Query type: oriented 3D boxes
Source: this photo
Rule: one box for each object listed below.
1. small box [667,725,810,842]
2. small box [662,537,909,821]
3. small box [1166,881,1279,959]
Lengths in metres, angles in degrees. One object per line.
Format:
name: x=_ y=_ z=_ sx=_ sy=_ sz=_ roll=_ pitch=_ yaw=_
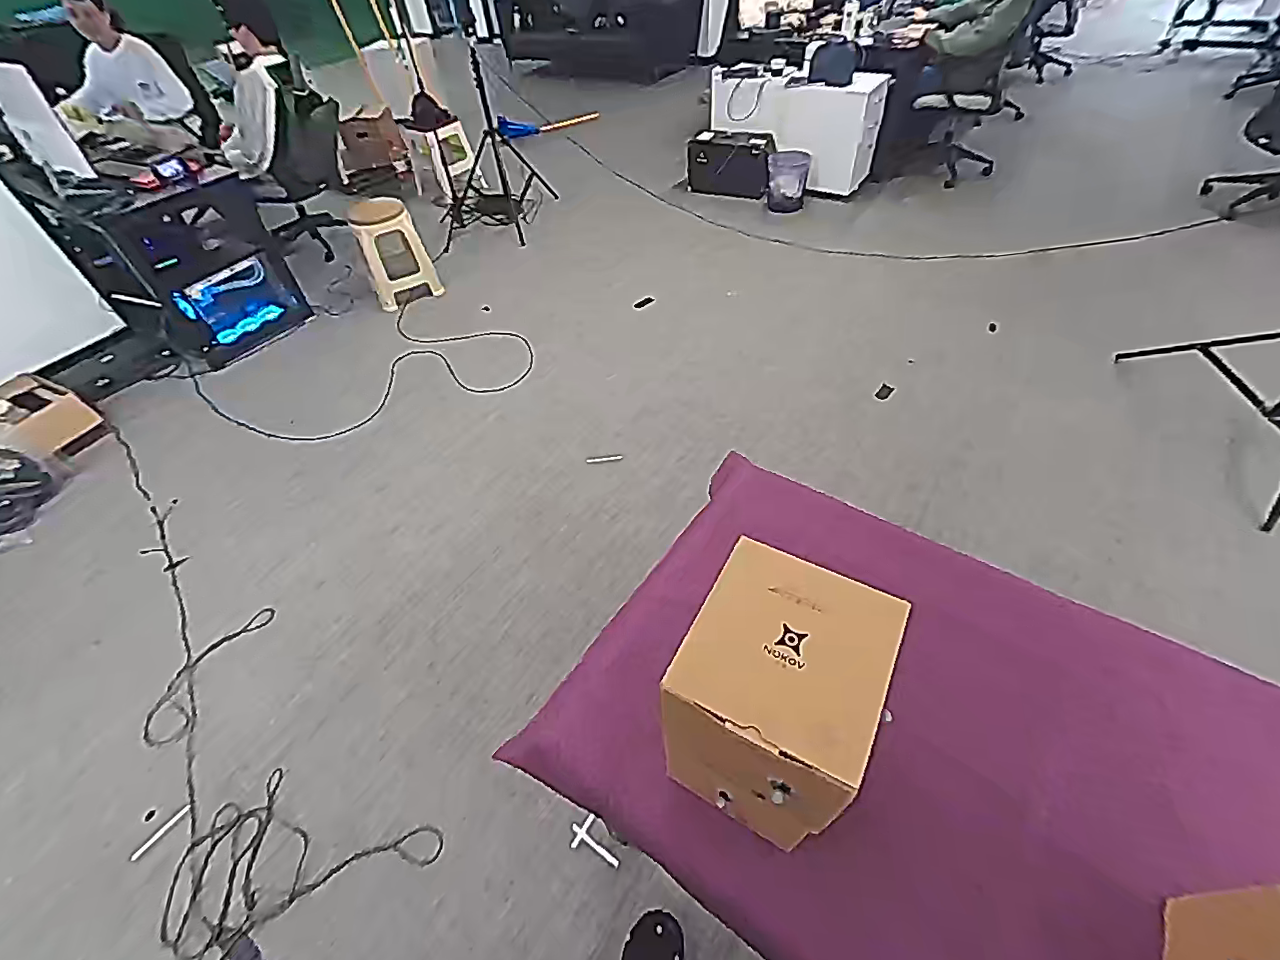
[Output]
small box: x=0.147 y=0.296 z=0.652 sx=0.168 sy=0.176 sz=0.179 roll=23 pitch=53 yaw=22
small box: x=0.135 y=0.194 z=0.526 sx=0.168 sy=0.176 sz=0.179 roll=21 pitch=52 yaw=21
small box: x=0.586 y=0.486 z=0.450 sx=0.168 sy=0.176 sz=0.179 roll=26 pitch=54 yaw=25
